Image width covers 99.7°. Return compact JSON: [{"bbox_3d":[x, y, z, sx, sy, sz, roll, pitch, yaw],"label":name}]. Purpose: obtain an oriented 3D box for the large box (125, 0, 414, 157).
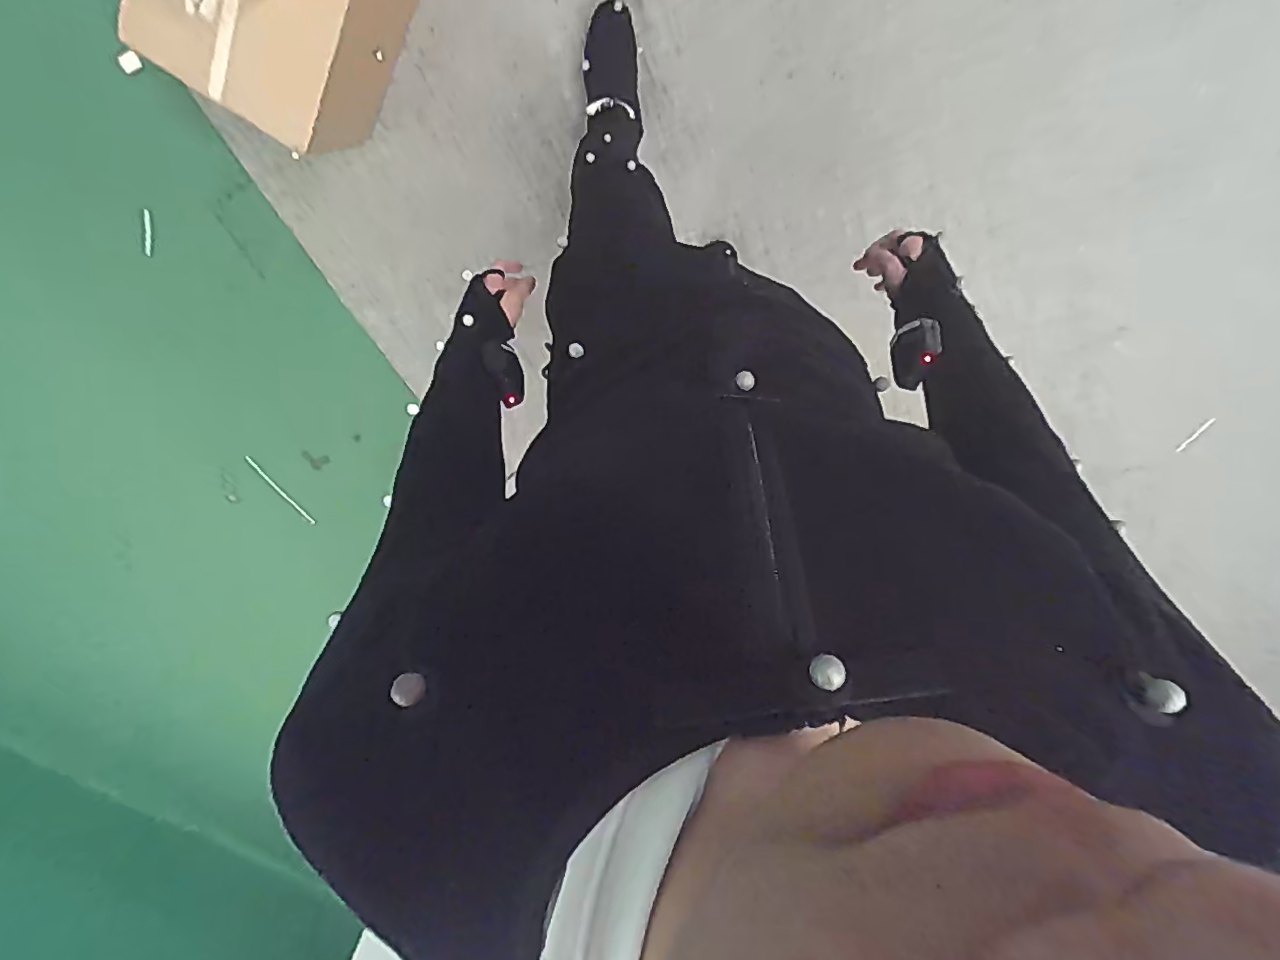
[{"bbox_3d":[-0.646,-0.900,0.995,0.320,0.320,0.408,29,121,-19],"label":"large box"}]
